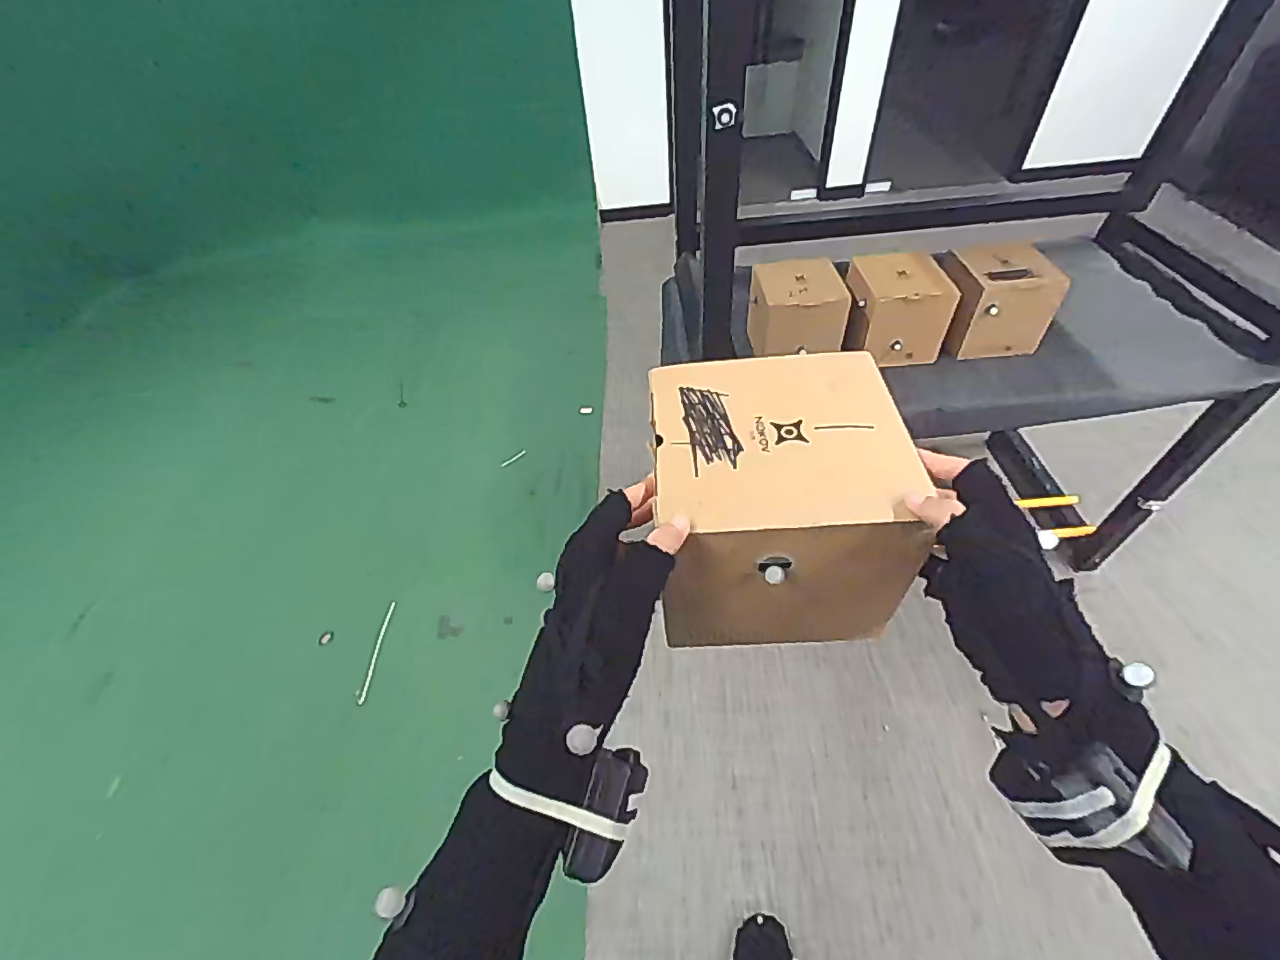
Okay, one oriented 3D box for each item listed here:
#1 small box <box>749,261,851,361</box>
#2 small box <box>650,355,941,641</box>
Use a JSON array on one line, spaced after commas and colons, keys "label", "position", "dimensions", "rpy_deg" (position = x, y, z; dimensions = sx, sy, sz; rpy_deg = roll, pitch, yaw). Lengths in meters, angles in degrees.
[{"label": "small box", "position": [0.335, -0.353, 1.175], "dimensions": [0.168, 0.176, 0.179], "rpy_deg": [-5, 48, 2]}, {"label": "small box", "position": [0.102, 0.020, 0.439], "dimensions": [0.179, 0.176, 0.168], "rpy_deg": [-3, 49, 3]}]
